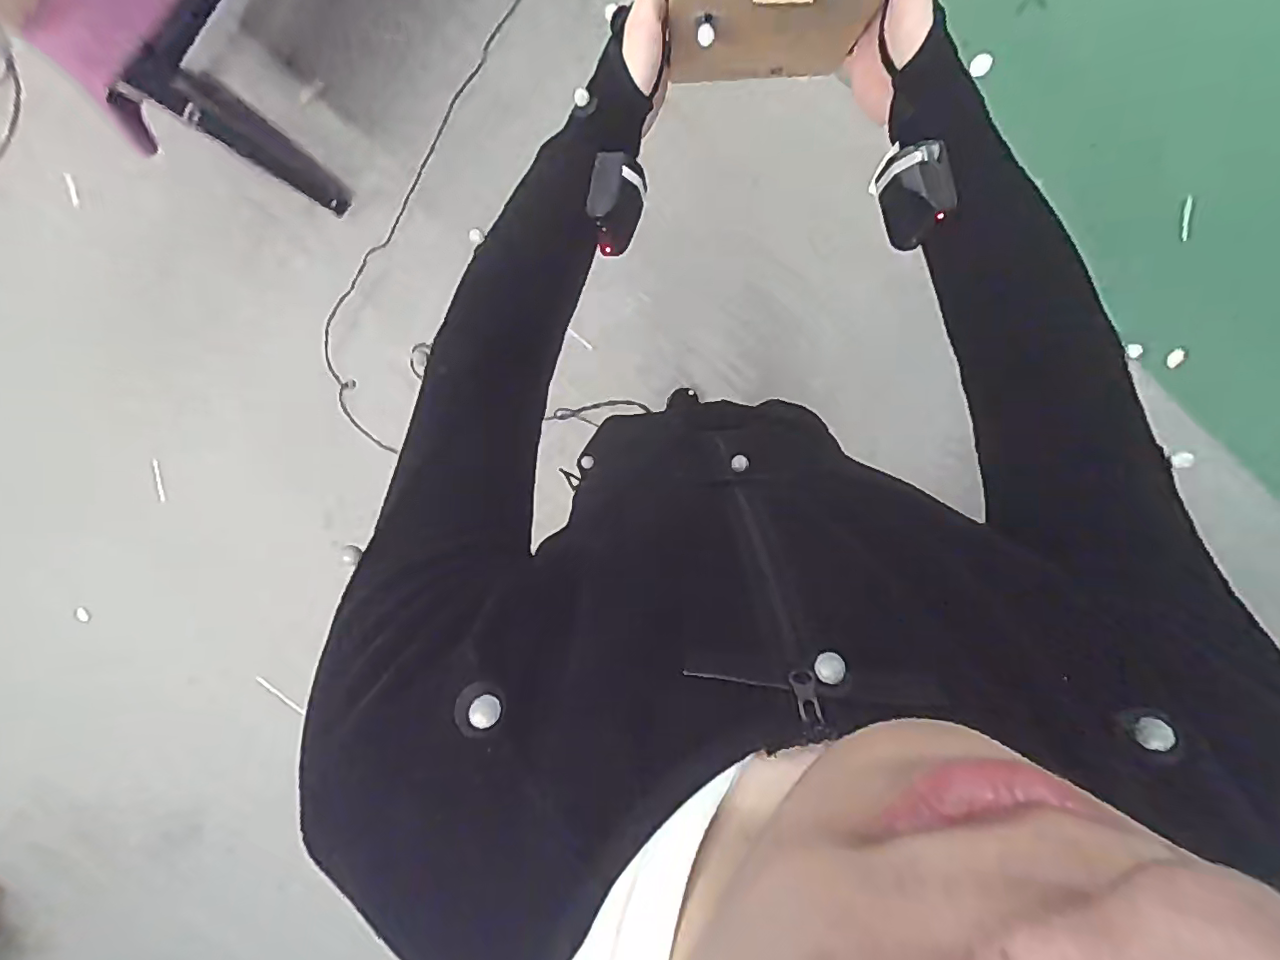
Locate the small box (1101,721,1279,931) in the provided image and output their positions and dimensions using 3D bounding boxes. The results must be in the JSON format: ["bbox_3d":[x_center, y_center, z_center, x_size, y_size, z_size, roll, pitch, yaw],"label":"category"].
[{"bbox_3d":[0.881,0.511,0.825,0.179,0.176,0.168,37,97,-3],"label":"small box"}]

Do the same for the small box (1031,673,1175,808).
[{"bbox_3d":[0.881,0.489,0.985,0.179,0.176,0.168,38,96,-3],"label":"small box"}]
